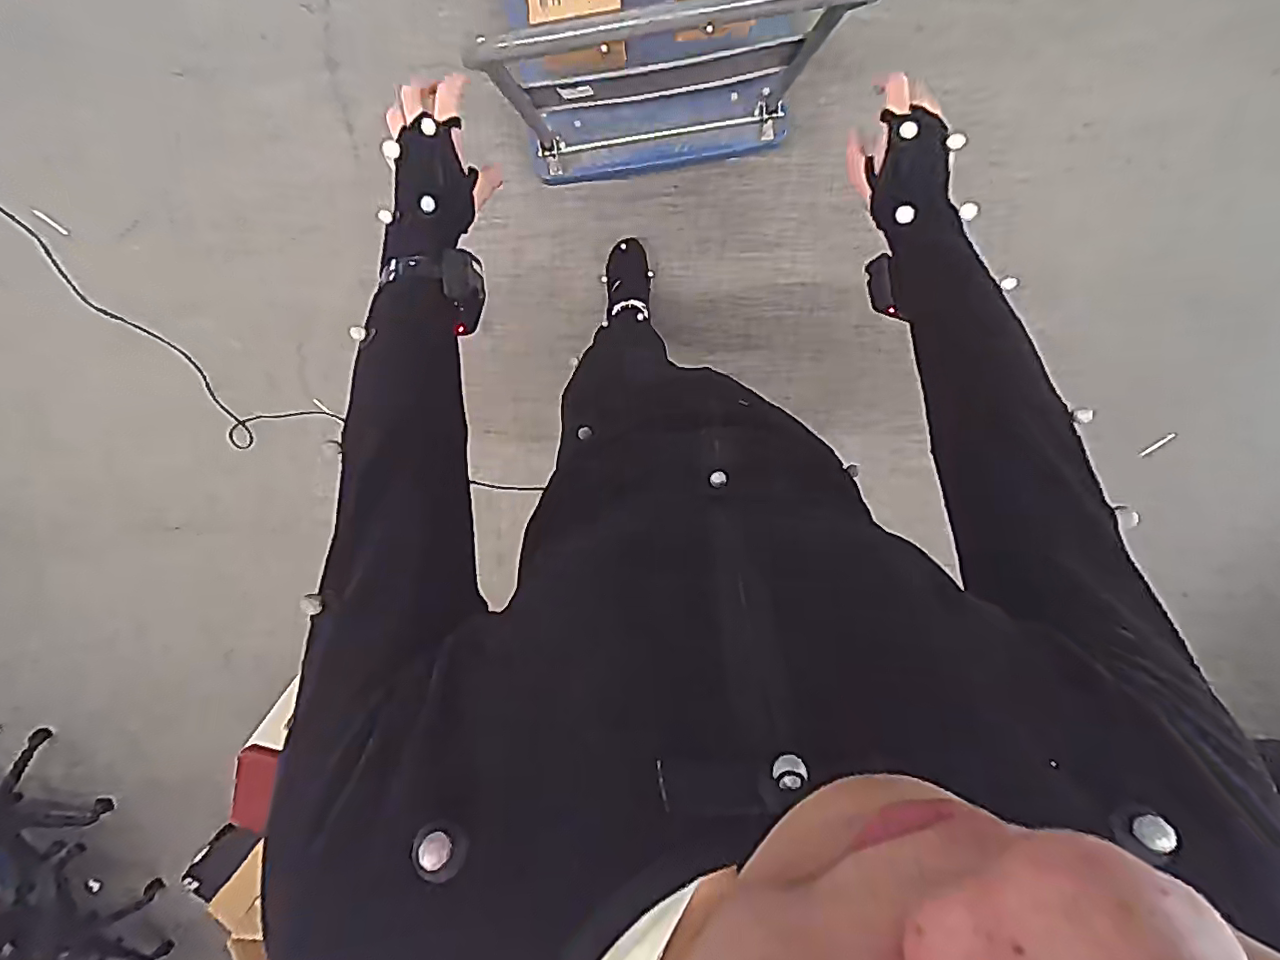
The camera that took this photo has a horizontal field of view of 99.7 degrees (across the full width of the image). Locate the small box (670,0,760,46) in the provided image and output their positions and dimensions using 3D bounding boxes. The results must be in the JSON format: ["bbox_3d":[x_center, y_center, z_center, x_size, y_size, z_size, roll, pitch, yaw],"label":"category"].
[{"bbox_3d":[0.141,-1.006,1.065,0.168,0.176,0.179,-6,108,4],"label":"small box"}]
